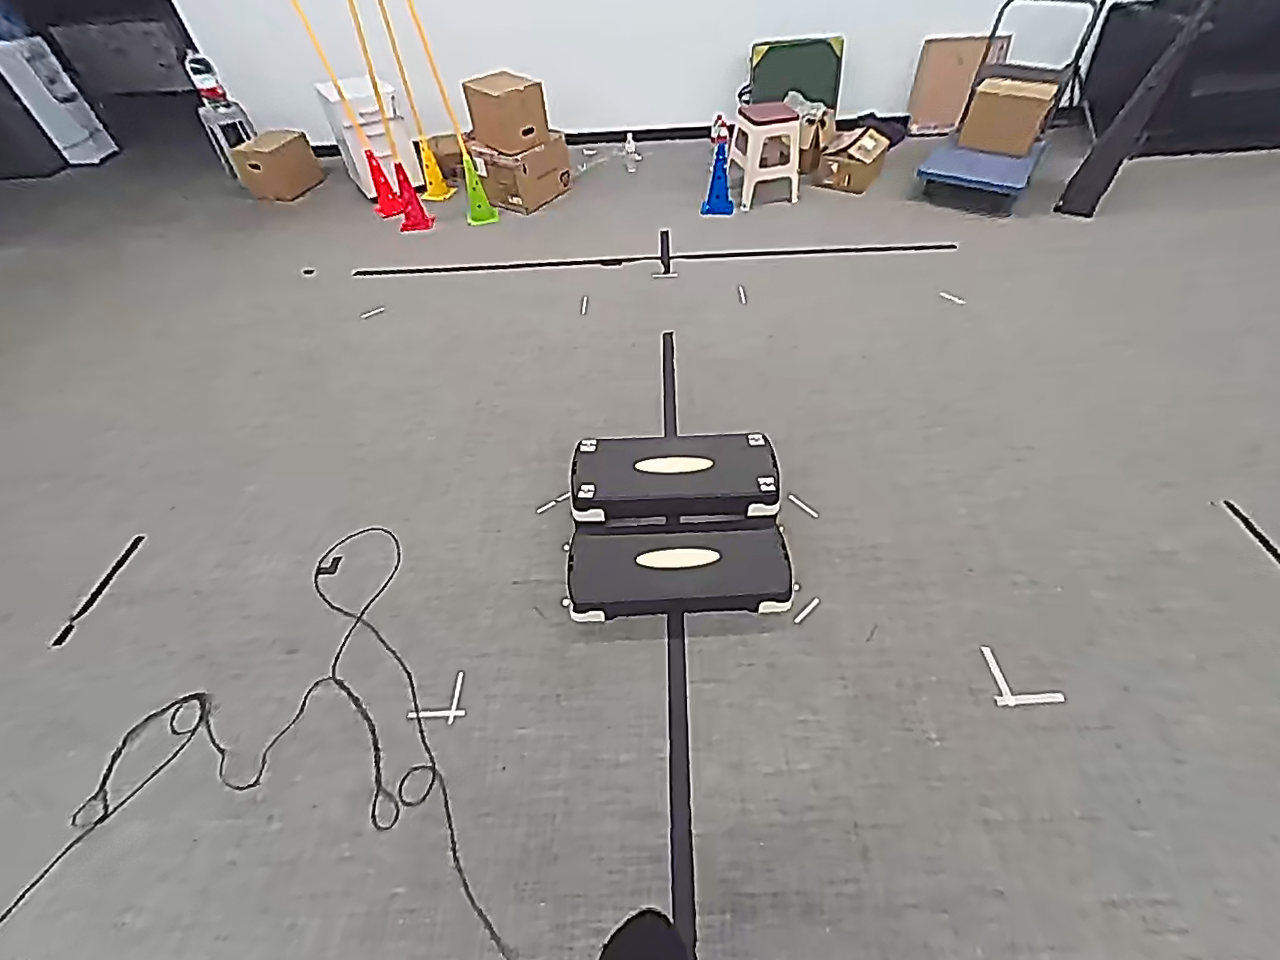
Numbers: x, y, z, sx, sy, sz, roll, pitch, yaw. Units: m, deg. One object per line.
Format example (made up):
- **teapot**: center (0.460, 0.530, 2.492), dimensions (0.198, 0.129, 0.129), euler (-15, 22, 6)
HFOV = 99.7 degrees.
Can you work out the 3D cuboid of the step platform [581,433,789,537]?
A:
- **step platform**: center (0.145, 0.011, 1.817), dimensions (0.684, 0.204, 0.286), euler (-2, 49, 0)
